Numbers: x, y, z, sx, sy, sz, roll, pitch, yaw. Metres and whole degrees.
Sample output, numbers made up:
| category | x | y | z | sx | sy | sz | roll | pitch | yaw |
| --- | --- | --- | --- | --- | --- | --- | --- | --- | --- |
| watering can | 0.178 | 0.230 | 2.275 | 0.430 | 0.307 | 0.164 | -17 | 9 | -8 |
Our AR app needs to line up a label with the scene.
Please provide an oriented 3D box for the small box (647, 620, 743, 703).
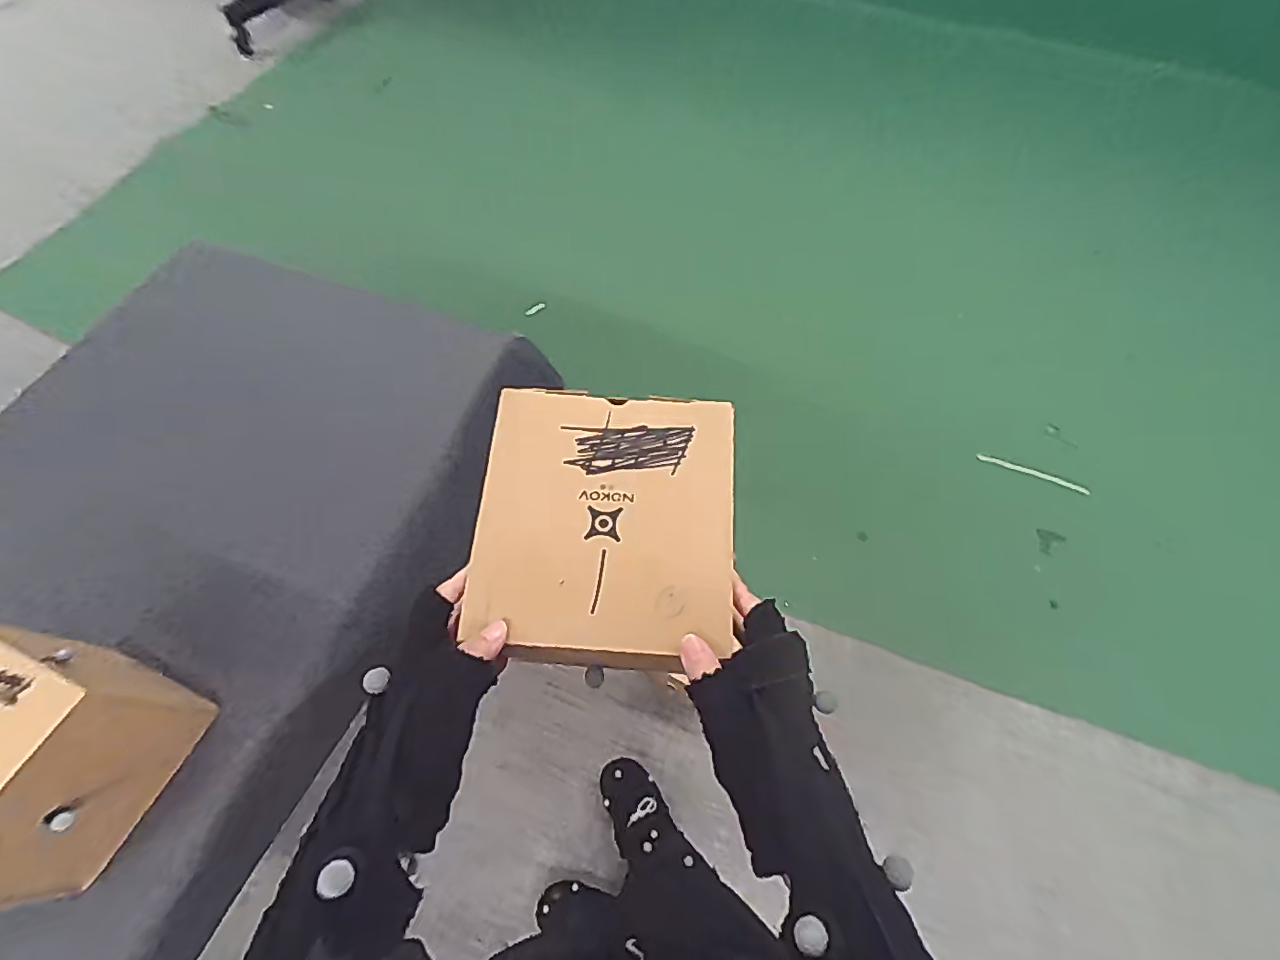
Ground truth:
| category | x | y | z | sx | sy | sz | roll | pitch | yaw |
| --- | --- | --- | --- | --- | --- | --- | --- | --- | --- |
| small box | 0.118 | 0.395 | 1.258 | 0.168 | 0.176 | 0.179 | 26 | 66 | 12 |

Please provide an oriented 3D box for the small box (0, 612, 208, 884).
| category | x | y | z | sx | sy | sz | roll | pitch | yaw |
| --- | --- | --- | --- | --- | --- | --- | --- | --- | --- |
| small box | -0.567 | 0.243 | 0.497 | 0.168 | 0.176 | 0.179 | 22 | 65 | 10 |

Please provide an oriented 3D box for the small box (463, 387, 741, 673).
| category | x | y | z | sx | sy | sz | roll | pitch | yaw |
| --- | --- | --- | --- | --- | --- | --- | --- | --- | --- |
| small box | -0.019 | 0.050 | 0.429 | 0.168 | 0.176 | 0.179 | 6 | 69 | 2 |
